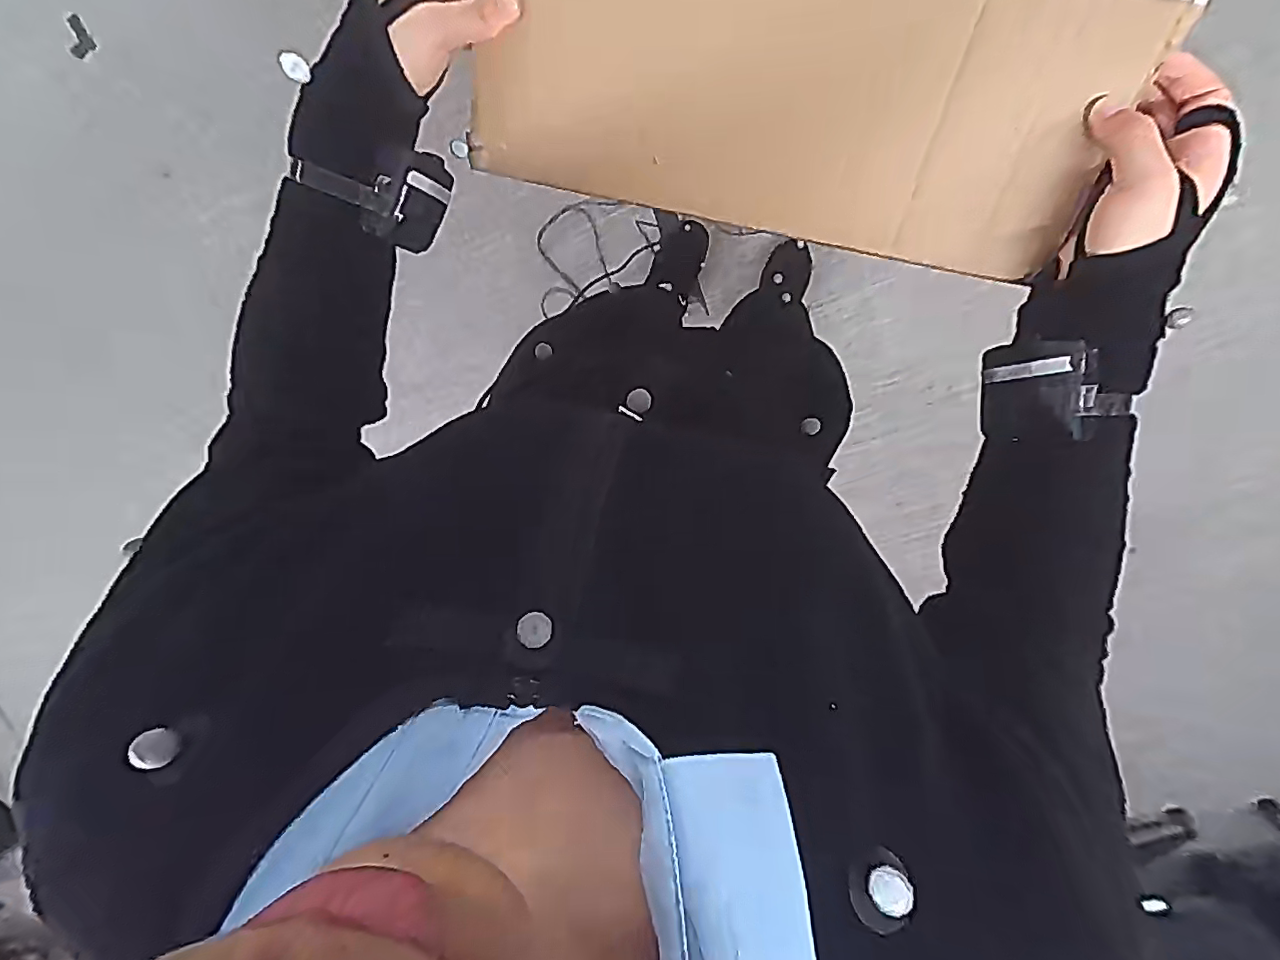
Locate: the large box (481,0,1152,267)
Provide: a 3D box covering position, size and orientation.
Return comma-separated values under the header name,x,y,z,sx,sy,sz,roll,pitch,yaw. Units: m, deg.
name,x,y,z,sx,sy,sz,roll,pitch,yaw
large box,0.127,-0.386,0.443,0.408,0.320,0.320,14,119,7
